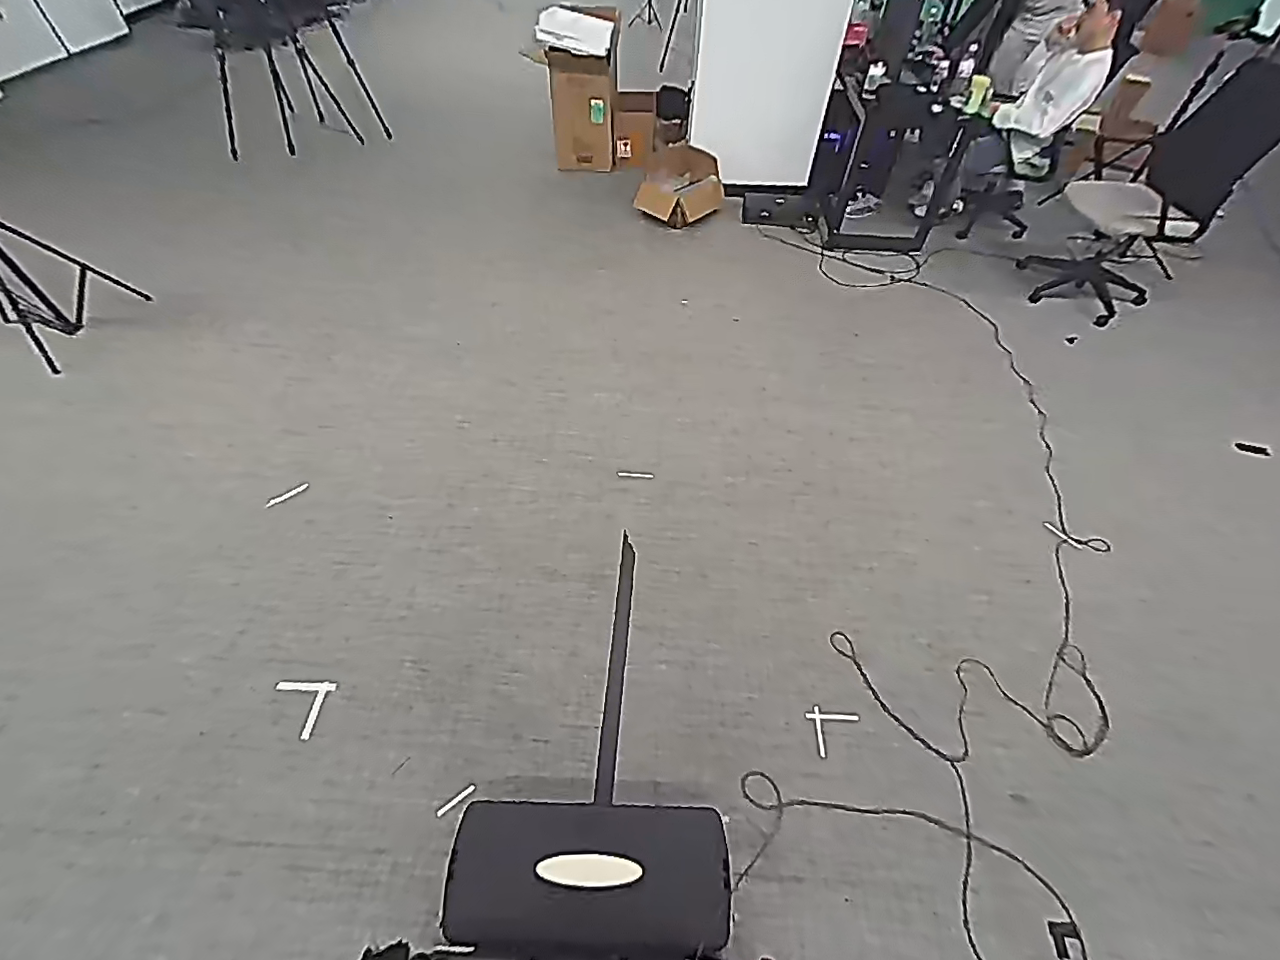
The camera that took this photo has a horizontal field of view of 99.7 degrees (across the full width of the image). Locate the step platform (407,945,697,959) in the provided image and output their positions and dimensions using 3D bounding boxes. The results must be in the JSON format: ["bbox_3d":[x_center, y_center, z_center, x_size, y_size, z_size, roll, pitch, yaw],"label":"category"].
[{"bbox_3d":[-0.171,1.139,1.086,0.684,0.204,0.286,2,51,1],"label":"step platform"}]
